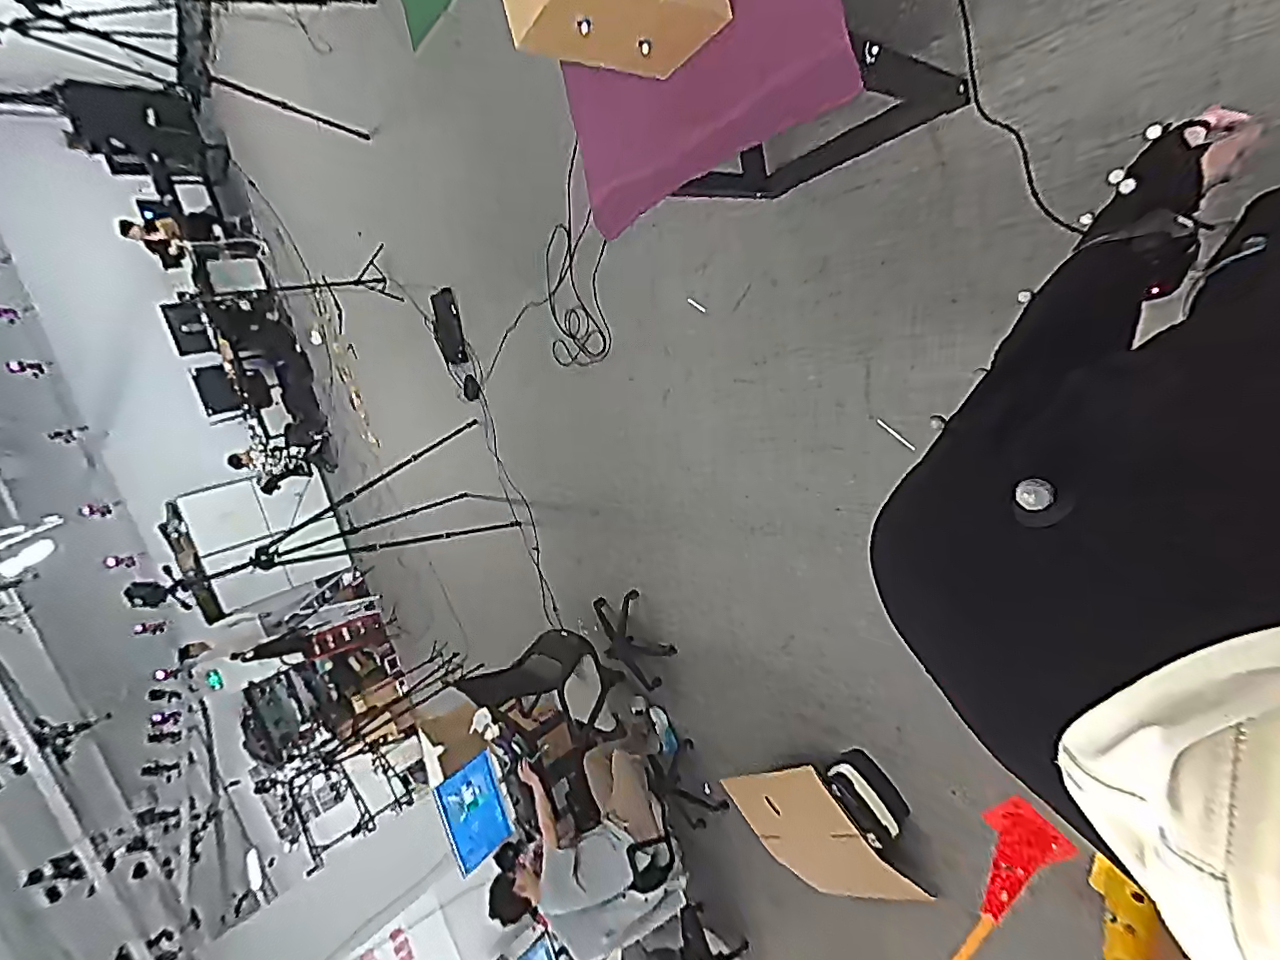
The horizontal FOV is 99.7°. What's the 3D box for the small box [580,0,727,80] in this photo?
[{"bbox_3d":[0.018,-0.818,0.915,0.179,0.176,0.168,-3,106,50],"label":"small box"}]
